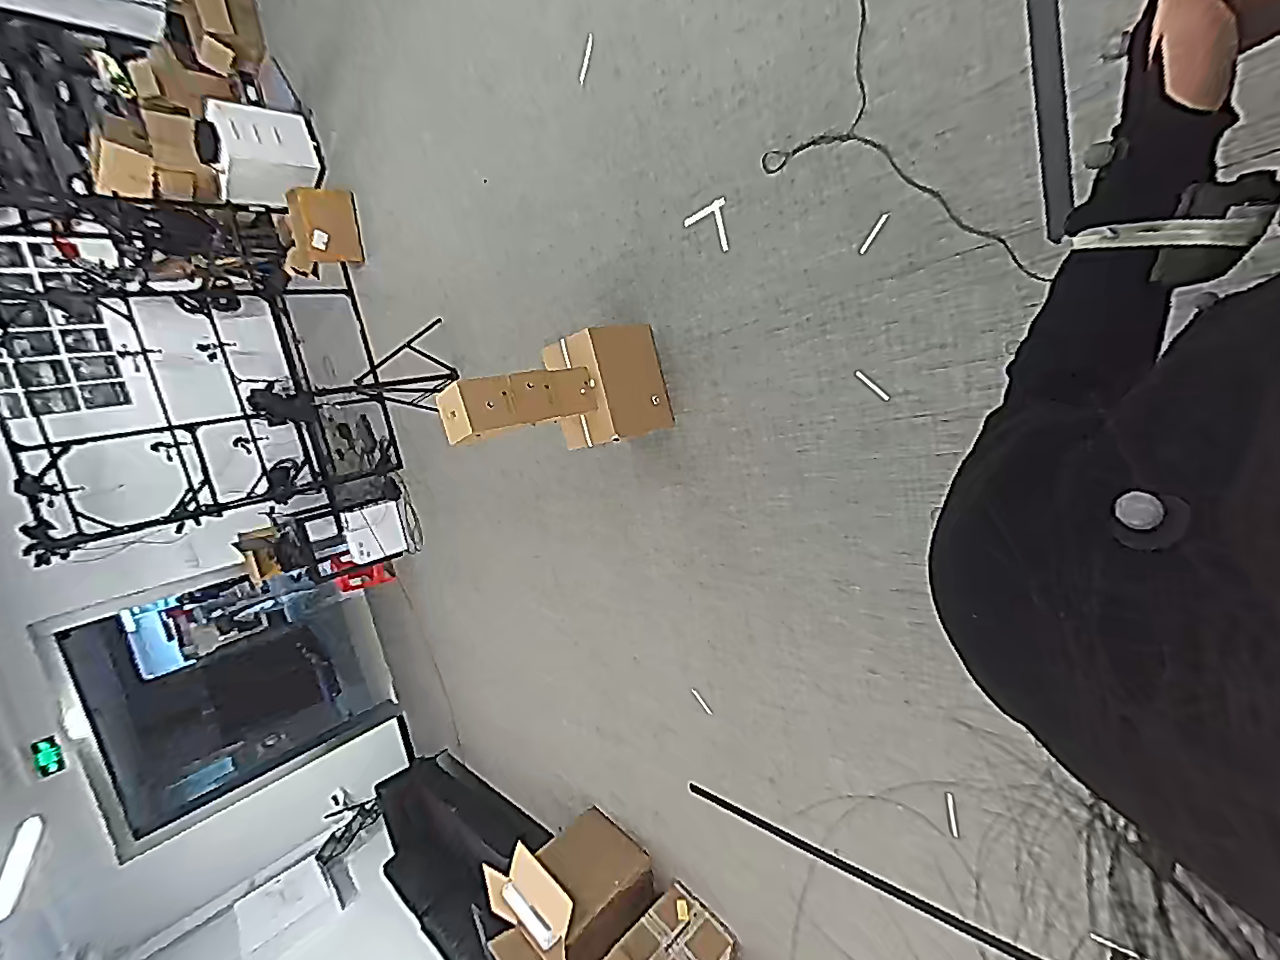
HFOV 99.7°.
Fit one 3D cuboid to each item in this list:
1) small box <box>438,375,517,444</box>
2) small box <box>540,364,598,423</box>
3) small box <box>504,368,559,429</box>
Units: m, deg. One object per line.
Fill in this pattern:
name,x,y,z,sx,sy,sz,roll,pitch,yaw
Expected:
small box,-0.509,-0.226,1.714,0.179,0.176,0.168,-17,91,48
small box,-0.277,-0.308,1.930,0.179,0.176,0.168,-8,99,48
small box,-0.390,-0.272,1.819,0.179,0.176,0.168,-10,96,49
